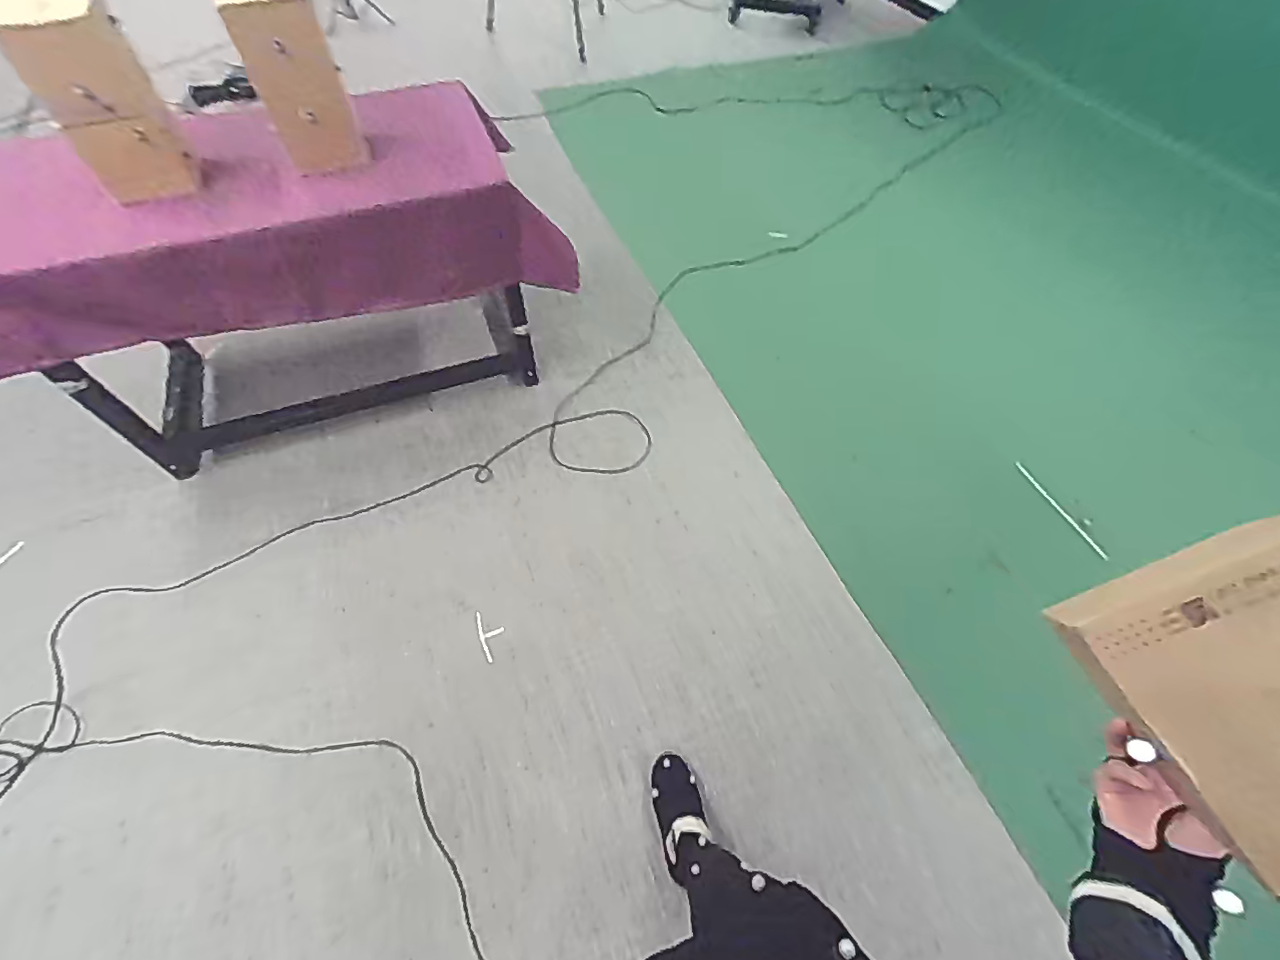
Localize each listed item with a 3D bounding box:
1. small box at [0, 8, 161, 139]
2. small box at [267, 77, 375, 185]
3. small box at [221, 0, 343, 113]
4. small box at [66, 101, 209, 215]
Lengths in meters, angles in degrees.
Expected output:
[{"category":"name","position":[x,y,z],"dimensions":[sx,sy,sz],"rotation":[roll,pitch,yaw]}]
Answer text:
[{"category":"small box","position":[-1.141,-0.838,1.118],"dimensions":[0.168,0.176,0.179],"rotation":[-19,59,-13]},{"category":"small box","position":[-0.784,-0.857,1.333],"dimensions":[0.179,0.176,0.168],"rotation":[-18,59,-13]},{"category":"small box","position":[-0.782,-0.948,1.197],"dimensions":[0.179,0.176,0.168],"rotation":[-19,59,-12]},{"category":"small box","position":[-1.149,-0.741,1.252],"dimensions":[0.179,0.176,0.168],"rotation":[-19,59,-14]}]
